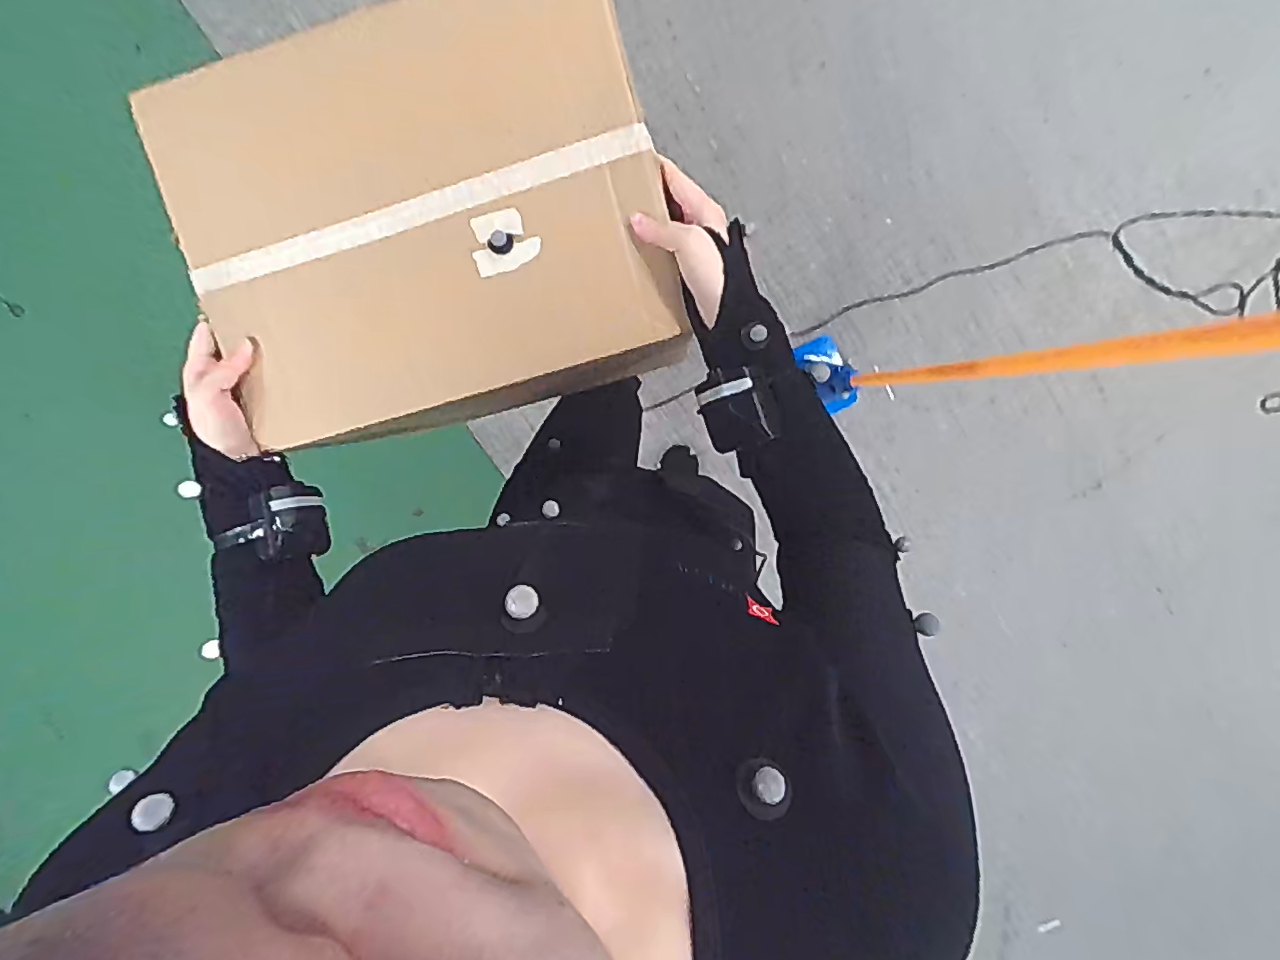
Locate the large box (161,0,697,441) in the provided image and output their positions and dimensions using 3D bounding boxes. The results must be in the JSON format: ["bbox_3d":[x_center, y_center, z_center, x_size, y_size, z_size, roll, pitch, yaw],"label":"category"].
[{"bbox_3d":[-0.176,-0.250,0.609,0.408,0.320,0.320,-15,97,4],"label":"large box"}]

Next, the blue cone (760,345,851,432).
[{"bbox_3d":[0.423,-0.216,1.260,0.192,0.380,0.193,-24,97,7],"label":"blue cone"}]
